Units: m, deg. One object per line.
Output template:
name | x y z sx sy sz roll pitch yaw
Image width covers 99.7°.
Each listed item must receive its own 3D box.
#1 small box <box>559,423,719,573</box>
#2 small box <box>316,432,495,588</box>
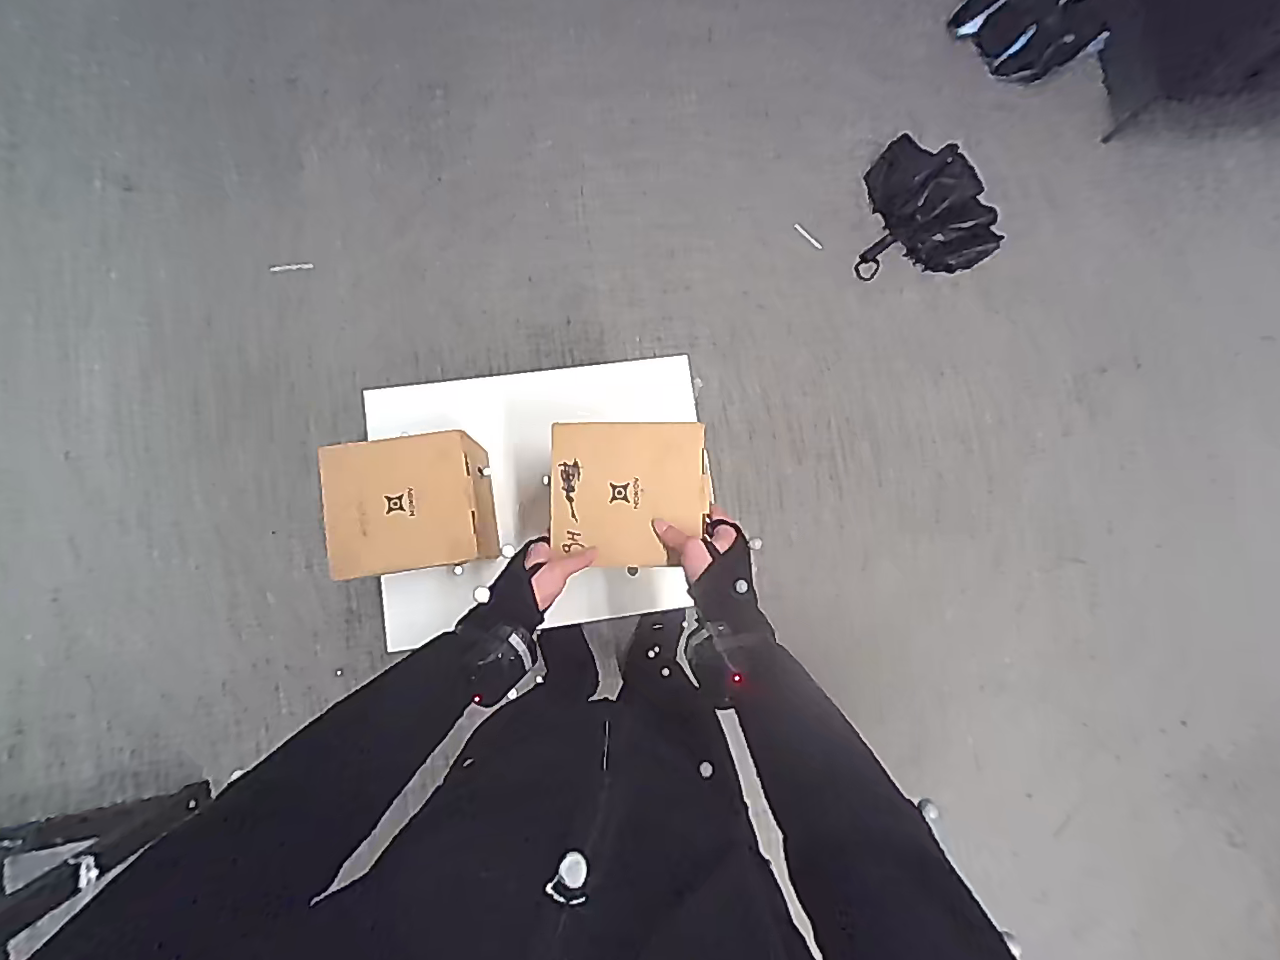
small box | -0.003 0.028 0.675 0.179 0.176 0.168 0 82 -1
small box | -0.291 0.043 0.708 0.179 0.176 0.168 -8 82 -8
